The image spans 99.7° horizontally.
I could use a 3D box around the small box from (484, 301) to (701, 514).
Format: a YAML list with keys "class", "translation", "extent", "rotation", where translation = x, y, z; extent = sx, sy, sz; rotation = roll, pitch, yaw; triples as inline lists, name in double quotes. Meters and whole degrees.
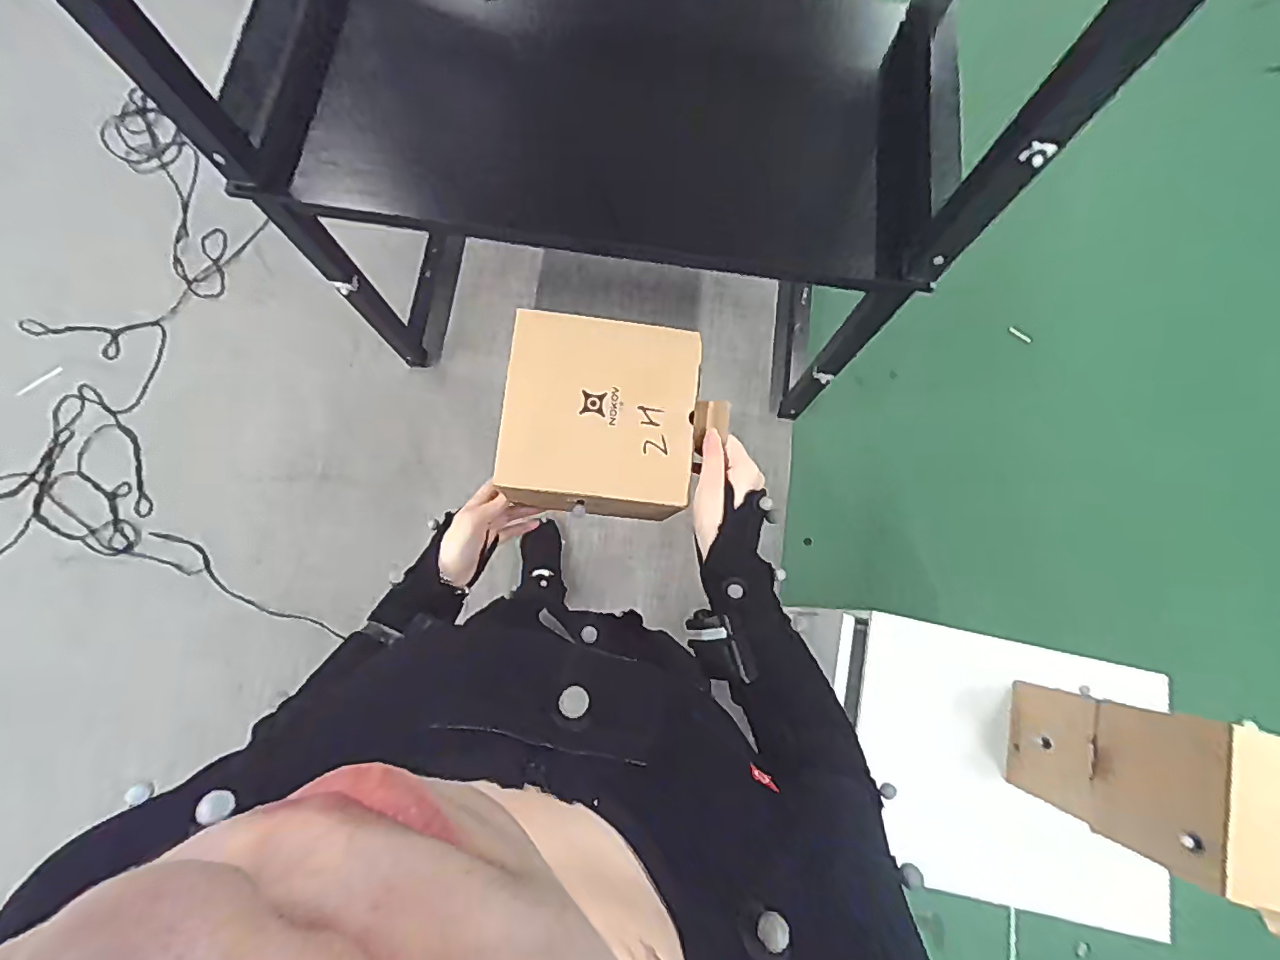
- class: "small box"
  translation: [-0.045, -0.058, 0.549]
  extent: [0.179, 0.176, 0.168]
  rotation: [6, 82, -5]

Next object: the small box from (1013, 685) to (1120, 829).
- class: "small box"
  translation: [0.690, 0.412, 0.794]
  extent: [0.179, 0.176, 0.168]
  rotation: [13, 79, 2]

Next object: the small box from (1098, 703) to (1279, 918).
- class: "small box"
  translation: [0.689, 0.381, 0.634]
  extent: [0.168, 0.176, 0.179]
  rotation: [15, 79, 2]
